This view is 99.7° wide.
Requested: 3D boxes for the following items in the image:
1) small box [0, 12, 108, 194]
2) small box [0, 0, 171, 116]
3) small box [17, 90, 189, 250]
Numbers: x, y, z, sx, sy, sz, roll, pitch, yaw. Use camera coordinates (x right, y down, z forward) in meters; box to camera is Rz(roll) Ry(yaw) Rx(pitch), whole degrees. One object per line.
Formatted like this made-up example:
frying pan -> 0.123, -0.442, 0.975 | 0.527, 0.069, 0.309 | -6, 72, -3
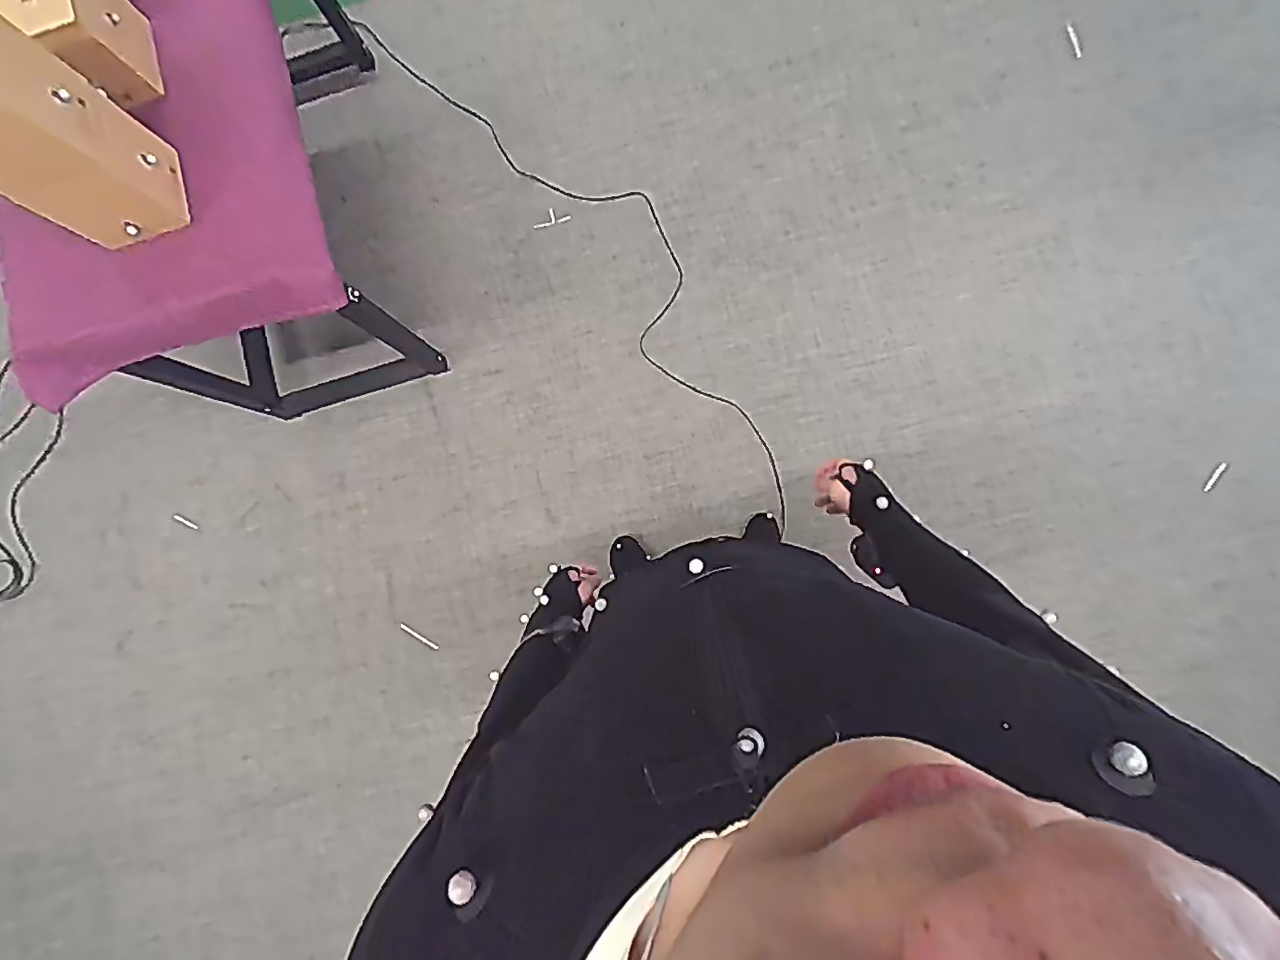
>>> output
small box -> -0.990, -0.578, 0.831 | 0.179, 0.176, 0.168 | -16, 84, 2
small box -> -1.053, -0.838, 1.029 | 0.168, 0.176, 0.179 | -16, 84, 3
small box -> -0.978, -0.559, 0.995 | 0.179, 0.176, 0.168 | -16, 82, 2
